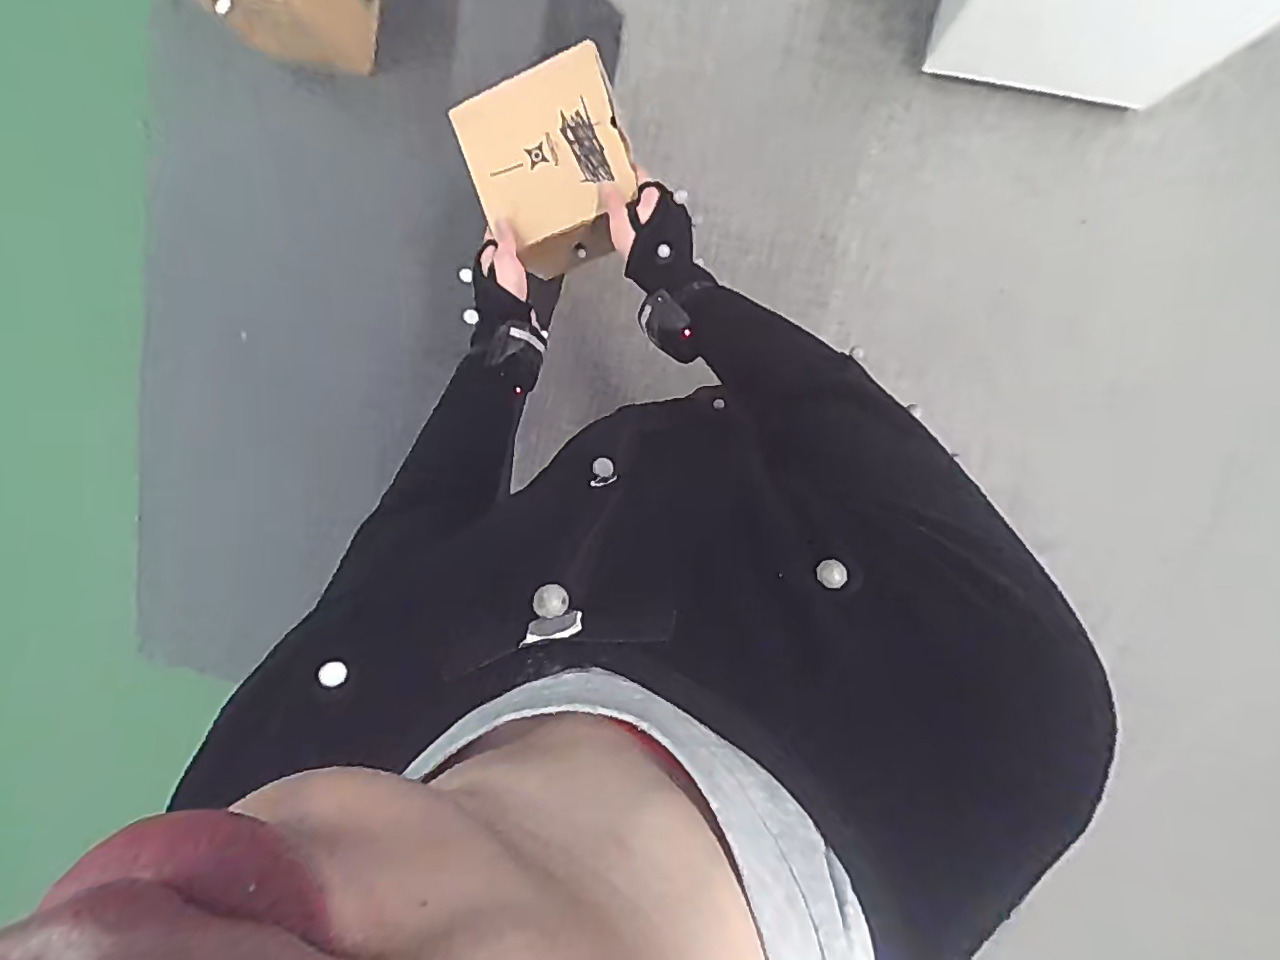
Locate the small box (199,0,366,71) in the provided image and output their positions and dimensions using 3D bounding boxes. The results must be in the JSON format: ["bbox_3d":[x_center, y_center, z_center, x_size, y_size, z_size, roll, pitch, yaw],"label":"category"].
[{"bbox_3d":[-0.461,-0.661,0.668,0.168,0.176,0.179,14,100,3],"label":"small box"}]

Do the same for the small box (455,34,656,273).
[{"bbox_3d":[-0.084,-0.369,0.650,0.179,0.176,0.168,-16,98,10],"label":"small box"}]
